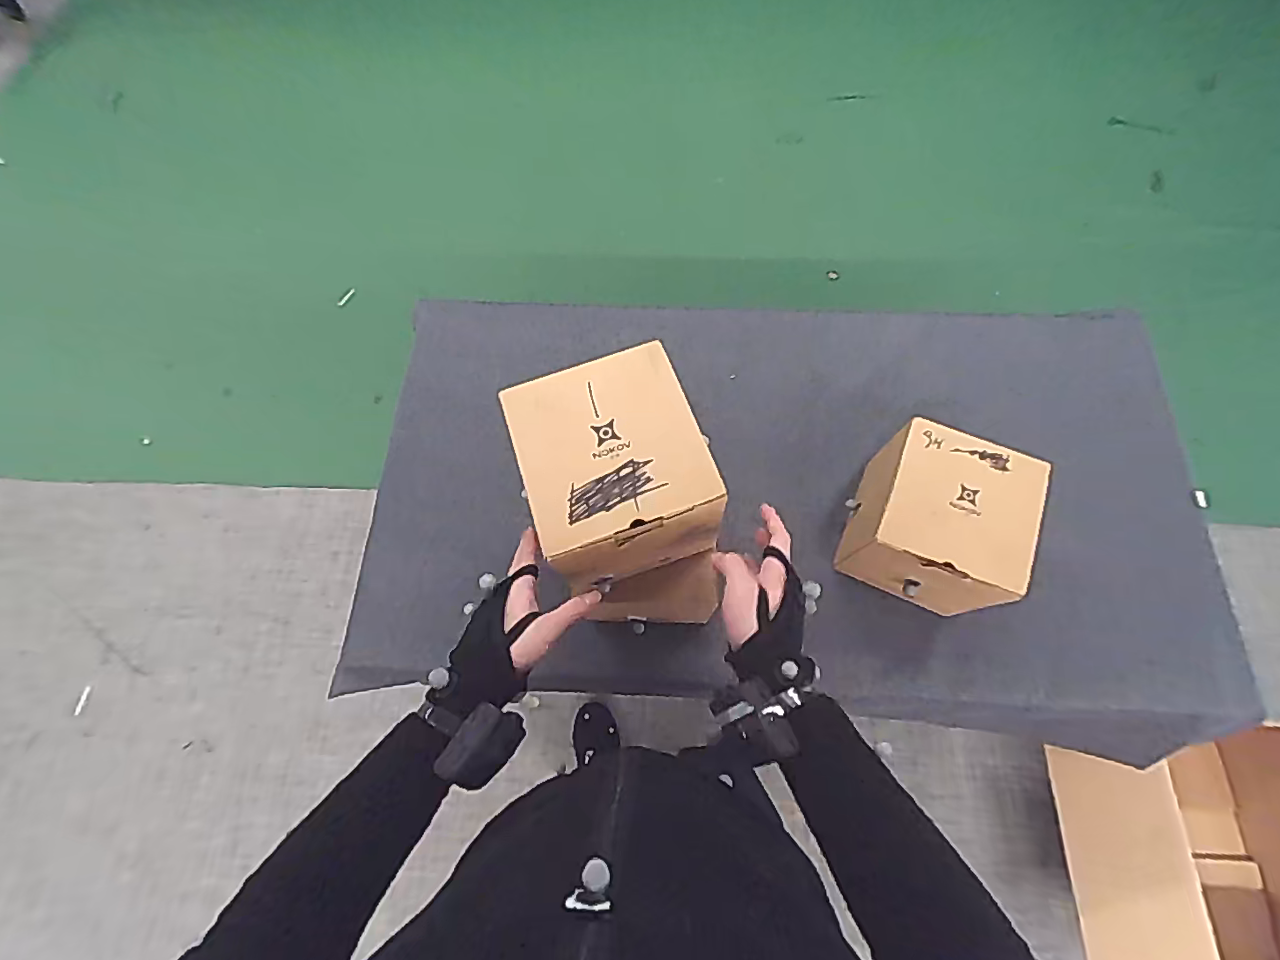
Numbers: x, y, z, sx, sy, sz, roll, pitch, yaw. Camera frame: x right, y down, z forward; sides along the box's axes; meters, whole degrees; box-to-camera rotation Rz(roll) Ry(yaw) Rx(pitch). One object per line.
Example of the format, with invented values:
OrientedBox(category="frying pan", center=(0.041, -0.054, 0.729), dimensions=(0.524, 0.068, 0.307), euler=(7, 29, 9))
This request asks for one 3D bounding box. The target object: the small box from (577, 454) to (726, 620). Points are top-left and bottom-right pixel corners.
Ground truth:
OrientedBox(category="small box", center=(0.016, 0.078, 0.690), dimensions=(0.168, 0.176, 0.179), euler=(0, 70, 2))

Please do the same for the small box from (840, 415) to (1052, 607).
OrientedBox(category="small box", center=(0.381, 0.051, 0.705), dimensions=(0.168, 0.176, 0.179), euler=(23, 73, 10))

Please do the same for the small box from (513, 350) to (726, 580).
OrientedBox(category="small box", center=(-0.019, -0.002, 0.581), dimensions=(0.168, 0.176, 0.179), euler=(-18, 67, -5))
